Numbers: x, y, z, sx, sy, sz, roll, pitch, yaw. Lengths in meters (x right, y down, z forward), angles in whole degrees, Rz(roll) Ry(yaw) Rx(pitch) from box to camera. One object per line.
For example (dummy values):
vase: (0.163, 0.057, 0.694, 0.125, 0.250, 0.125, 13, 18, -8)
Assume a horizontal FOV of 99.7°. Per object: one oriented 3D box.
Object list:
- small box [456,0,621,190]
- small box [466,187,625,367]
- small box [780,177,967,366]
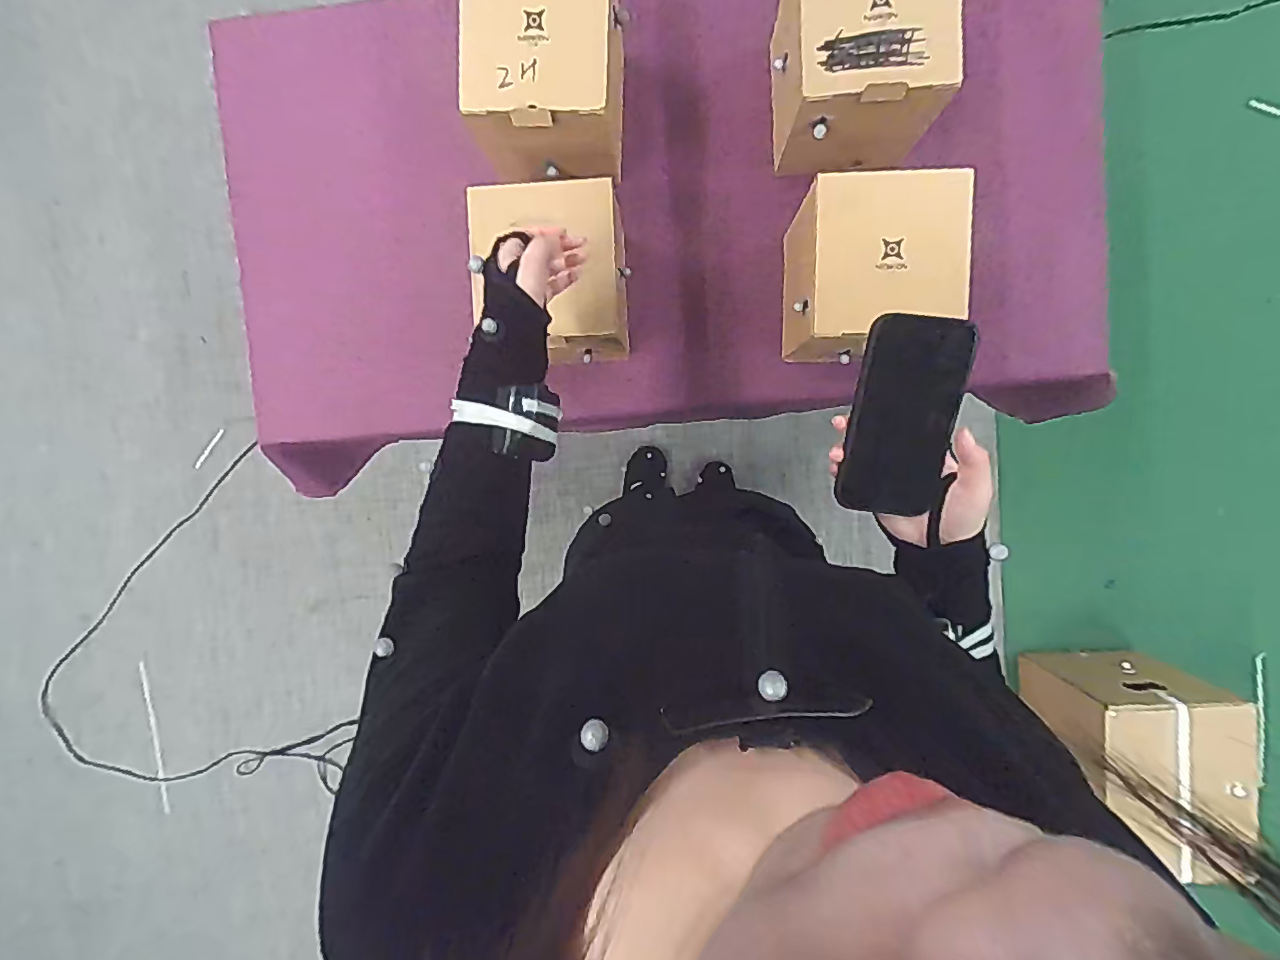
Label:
small box: (-0.114, -0.488, 0.672, 0.168, 0.176, 0.179, 2, 94, 4)
small box: (-0.108, -0.241, 0.687, 0.168, 0.176, 0.179, -2, 92, 3)
small box: (0.271, -0.242, 0.664, 0.168, 0.176, 0.179, 0, 94, 4)
